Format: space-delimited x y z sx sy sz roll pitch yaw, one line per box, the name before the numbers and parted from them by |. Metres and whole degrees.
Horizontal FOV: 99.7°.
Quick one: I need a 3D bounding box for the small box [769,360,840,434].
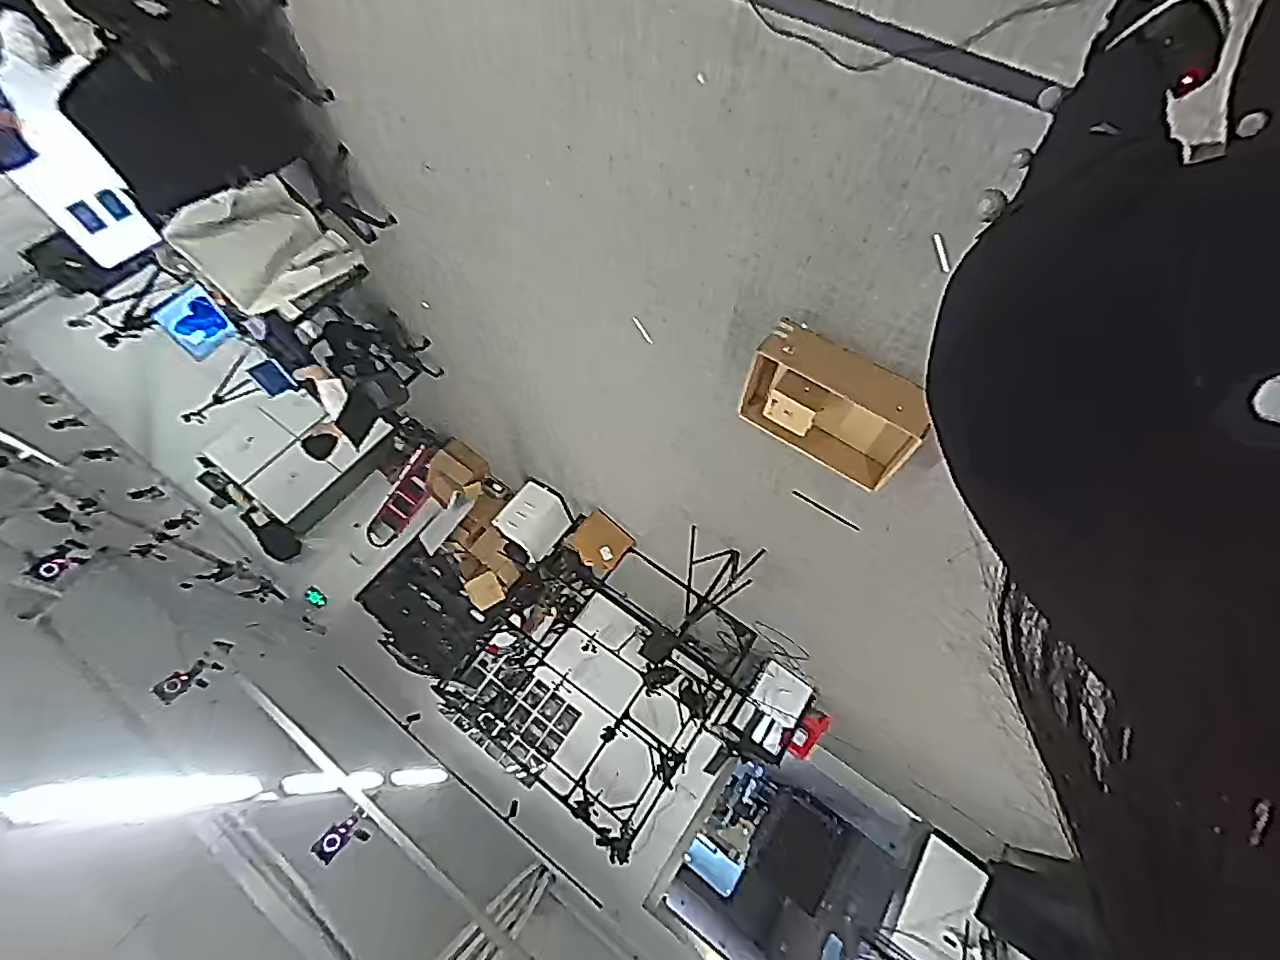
small box | 0.604 -0.307 1.981 0.179 0.176 0.168 31 156 14
